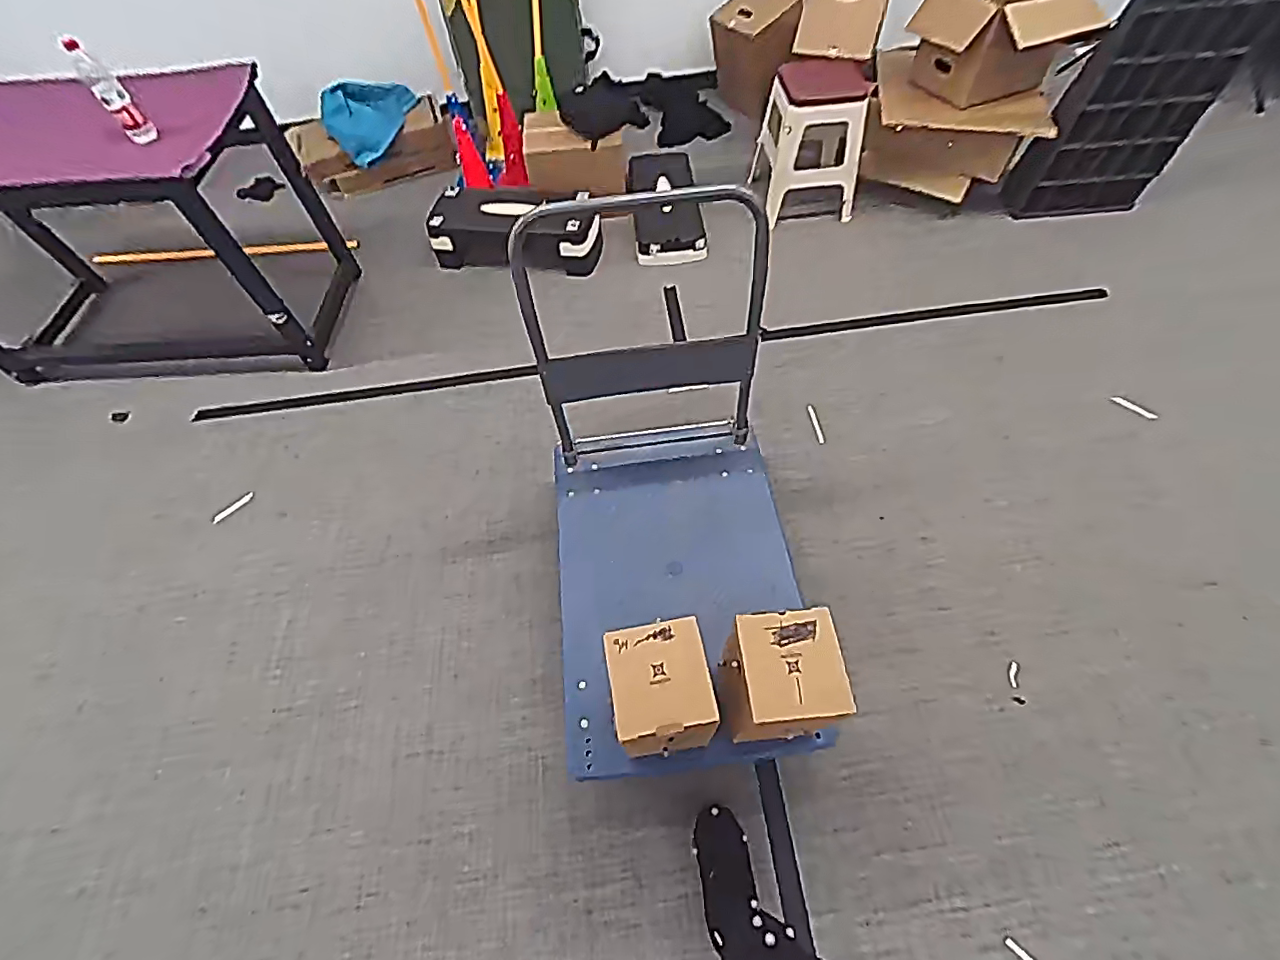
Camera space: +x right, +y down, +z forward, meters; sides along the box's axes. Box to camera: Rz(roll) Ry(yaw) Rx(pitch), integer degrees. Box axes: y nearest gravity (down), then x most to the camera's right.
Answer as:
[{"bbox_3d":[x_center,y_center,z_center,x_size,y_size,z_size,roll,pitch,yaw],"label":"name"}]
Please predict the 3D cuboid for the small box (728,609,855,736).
[{"bbox_3d":[0.255,0.344,0.960,0.168,0.176,0.179,-5,59,0],"label":"small box"}]

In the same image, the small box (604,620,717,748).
[{"bbox_3d":[0.035,0.367,0.959,0.168,0.176,0.179,-10,59,-3],"label":"small box"}]

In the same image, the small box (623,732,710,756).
[{"bbox_3d":[0.044,0.453,1.100,0.168,0.176,0.179,-8,58,-2],"label":"small box"}]
